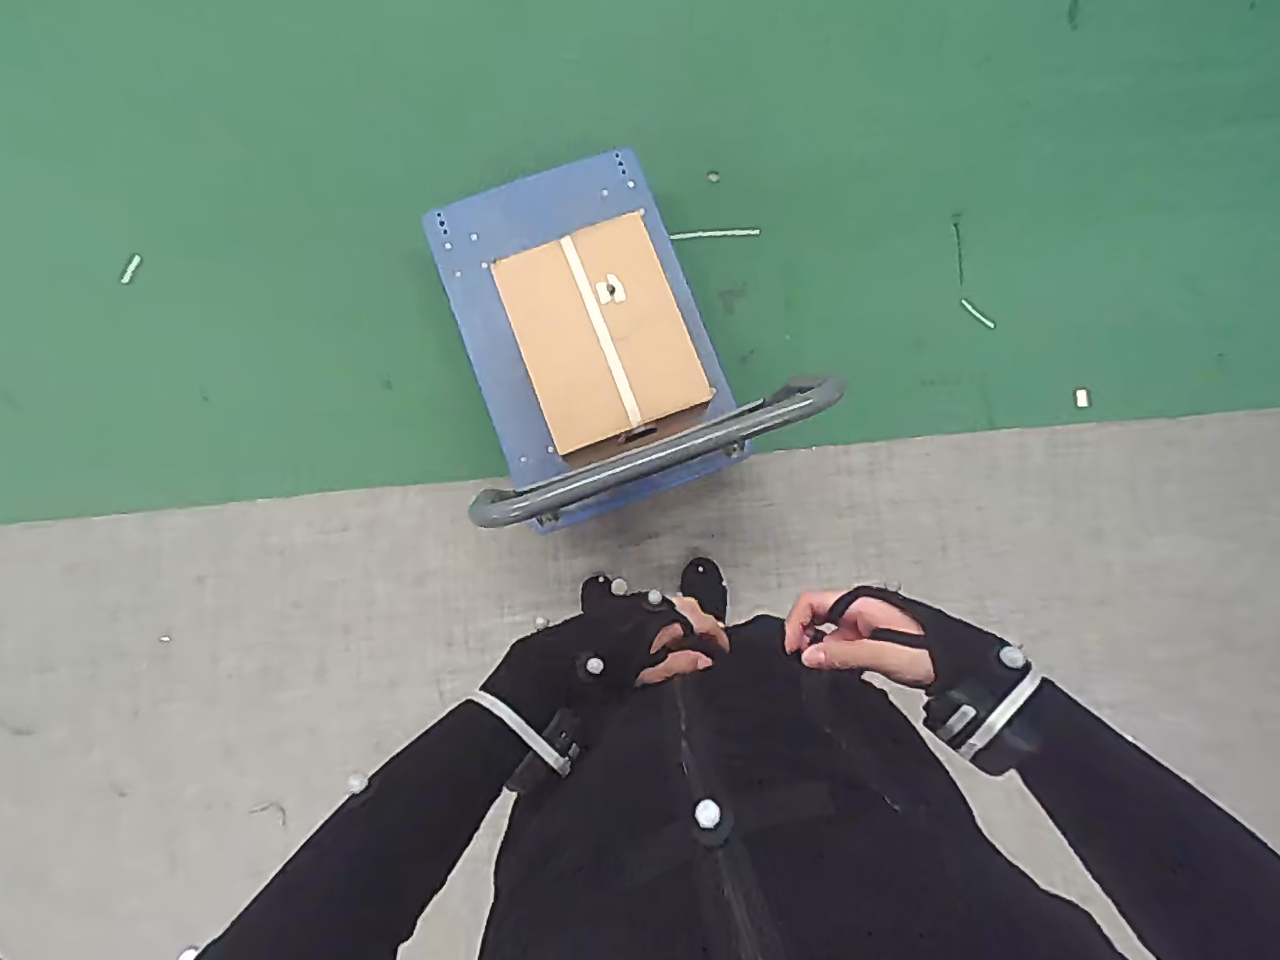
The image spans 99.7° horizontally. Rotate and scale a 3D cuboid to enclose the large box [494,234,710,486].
[{"bbox_3d":[-0.074,-0.238,1.199,0.320,0.320,0.408,-21,83,-3],"label":"large box"}]
